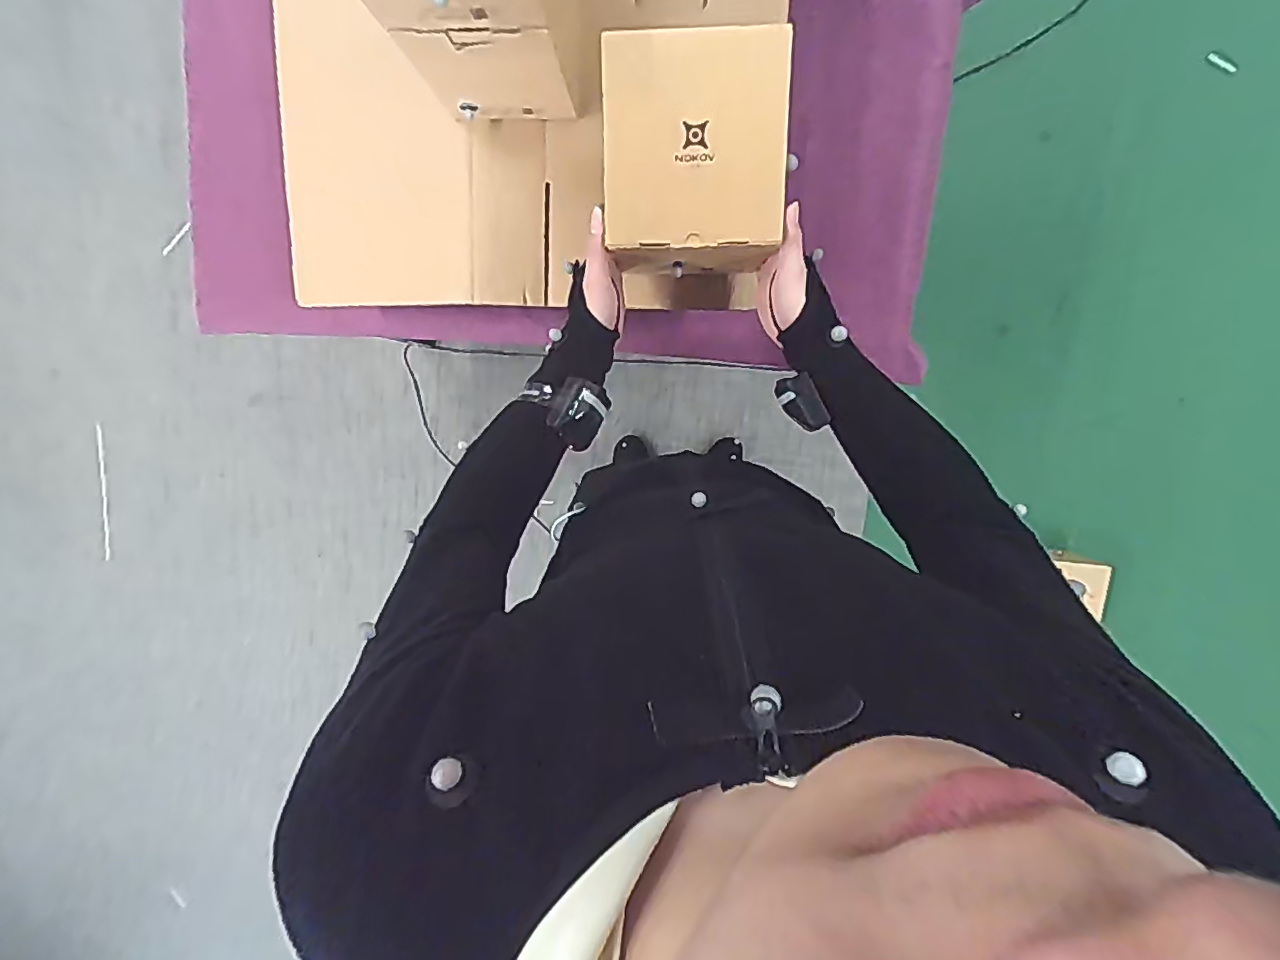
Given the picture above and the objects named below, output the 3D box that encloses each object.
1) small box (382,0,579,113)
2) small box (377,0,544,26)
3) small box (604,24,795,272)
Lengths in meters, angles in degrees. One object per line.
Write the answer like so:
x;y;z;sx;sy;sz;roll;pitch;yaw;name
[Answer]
-0.161;-0.532;0.588;0.168;0.176;0.179;2;97;3;small box
-0.172;-0.512;0.426;0.168;0.176;0.179;2;99;3;small box
0.052;-0.317;0.553;0.168;0.176;0.179;0;105;3;small box
